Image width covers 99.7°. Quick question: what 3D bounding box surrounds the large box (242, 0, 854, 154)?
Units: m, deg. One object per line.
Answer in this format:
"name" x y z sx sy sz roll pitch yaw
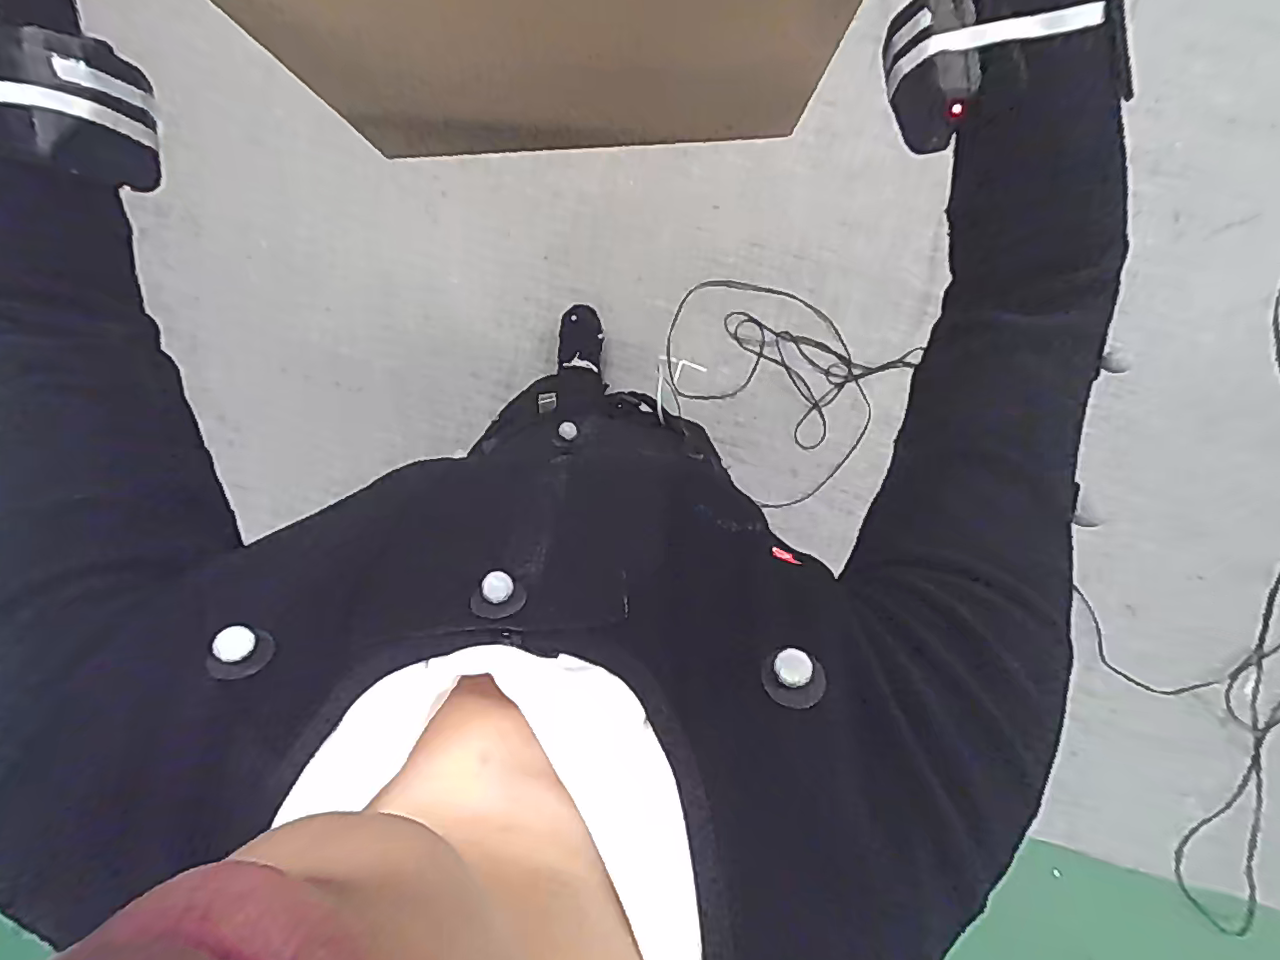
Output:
"large box" -0.060 -0.461 0.365 0.408 0.320 0.320 -2 99 1
